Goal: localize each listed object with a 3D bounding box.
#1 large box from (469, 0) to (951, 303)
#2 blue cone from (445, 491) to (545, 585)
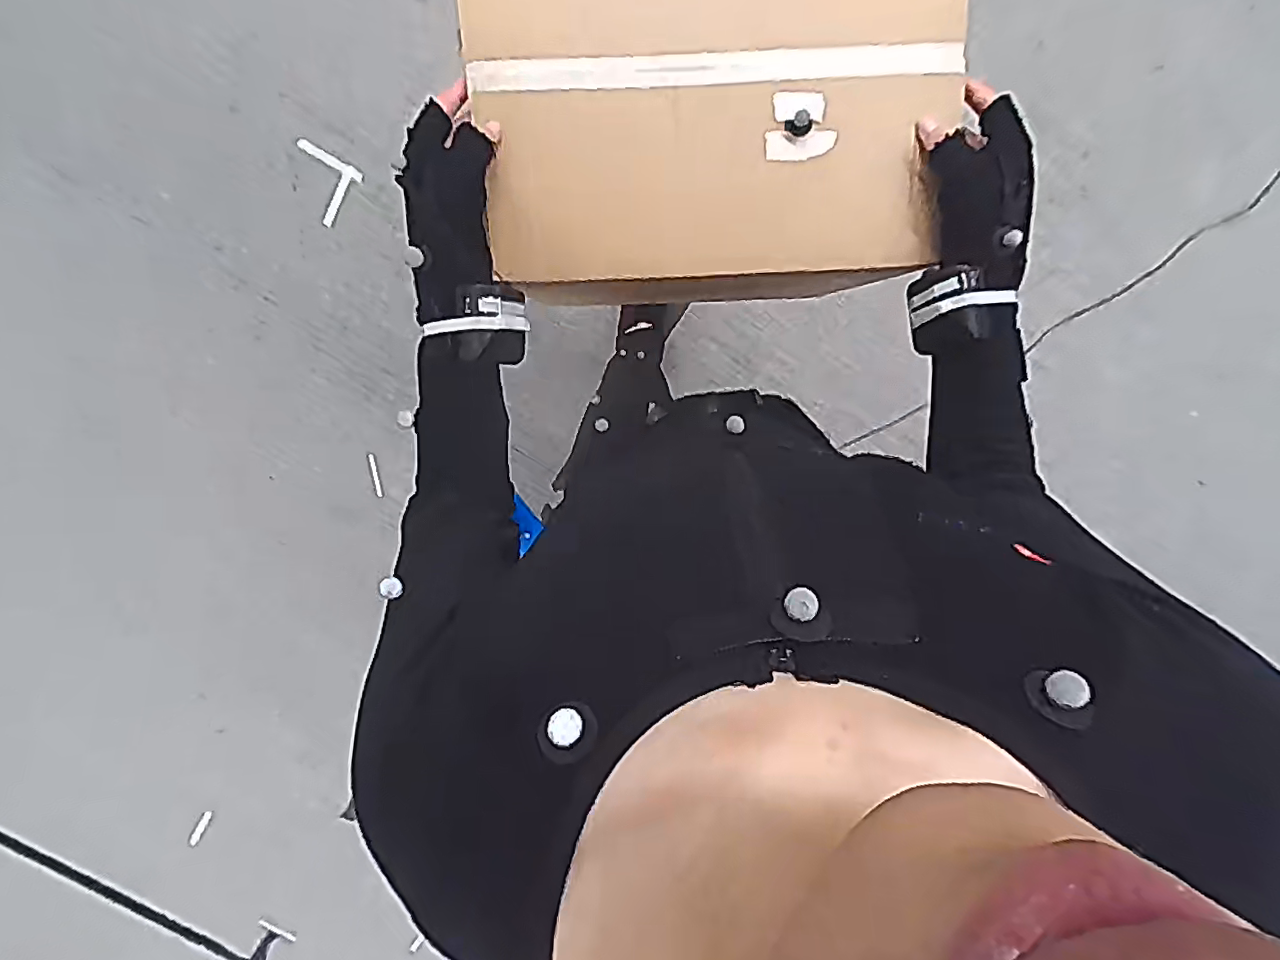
[{"bbox_3d":[0.055,-0.379,0.598,0.408,0.320,0.320,-2,104,-1],"label":"large box"},{"bbox_3d":[-0.393,0.174,1.365,0.192,0.380,0.193,-36,97,9],"label":"blue cone"}]
